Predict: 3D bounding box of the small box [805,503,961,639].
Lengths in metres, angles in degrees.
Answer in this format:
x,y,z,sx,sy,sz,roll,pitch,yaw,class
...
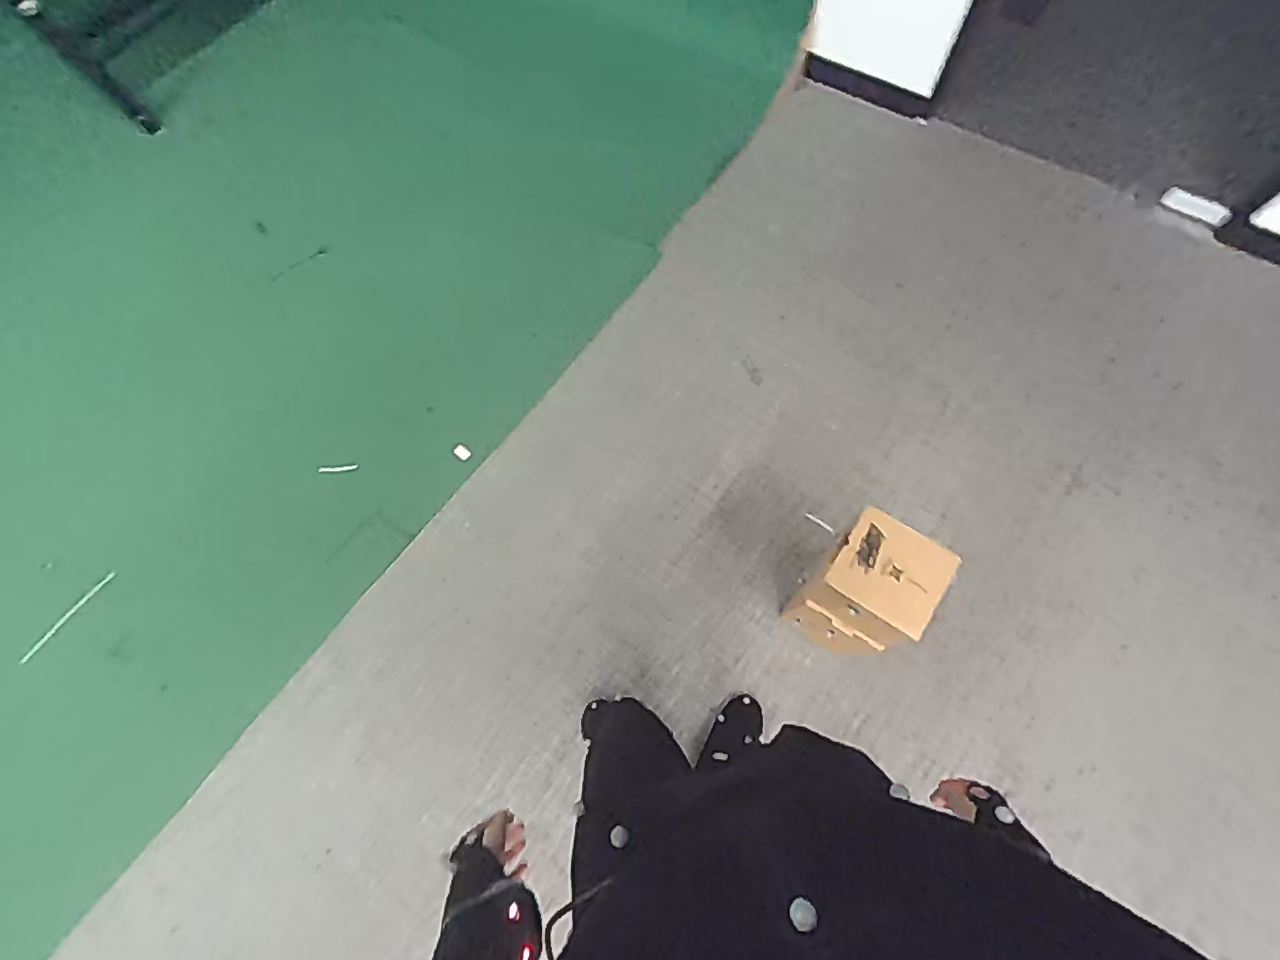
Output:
x,y,z,sx,sy,sz,roll,pitch,yaw,class
0.424,0.173,0.977,0.179,0.176,0.168,34,76,14,small box

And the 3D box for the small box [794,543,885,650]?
x,y,z,sx,sy,sz,roll,pitch,yaw,class
0.439,0.237,1.128,0.168,0.176,0.179,33,77,14,small box
